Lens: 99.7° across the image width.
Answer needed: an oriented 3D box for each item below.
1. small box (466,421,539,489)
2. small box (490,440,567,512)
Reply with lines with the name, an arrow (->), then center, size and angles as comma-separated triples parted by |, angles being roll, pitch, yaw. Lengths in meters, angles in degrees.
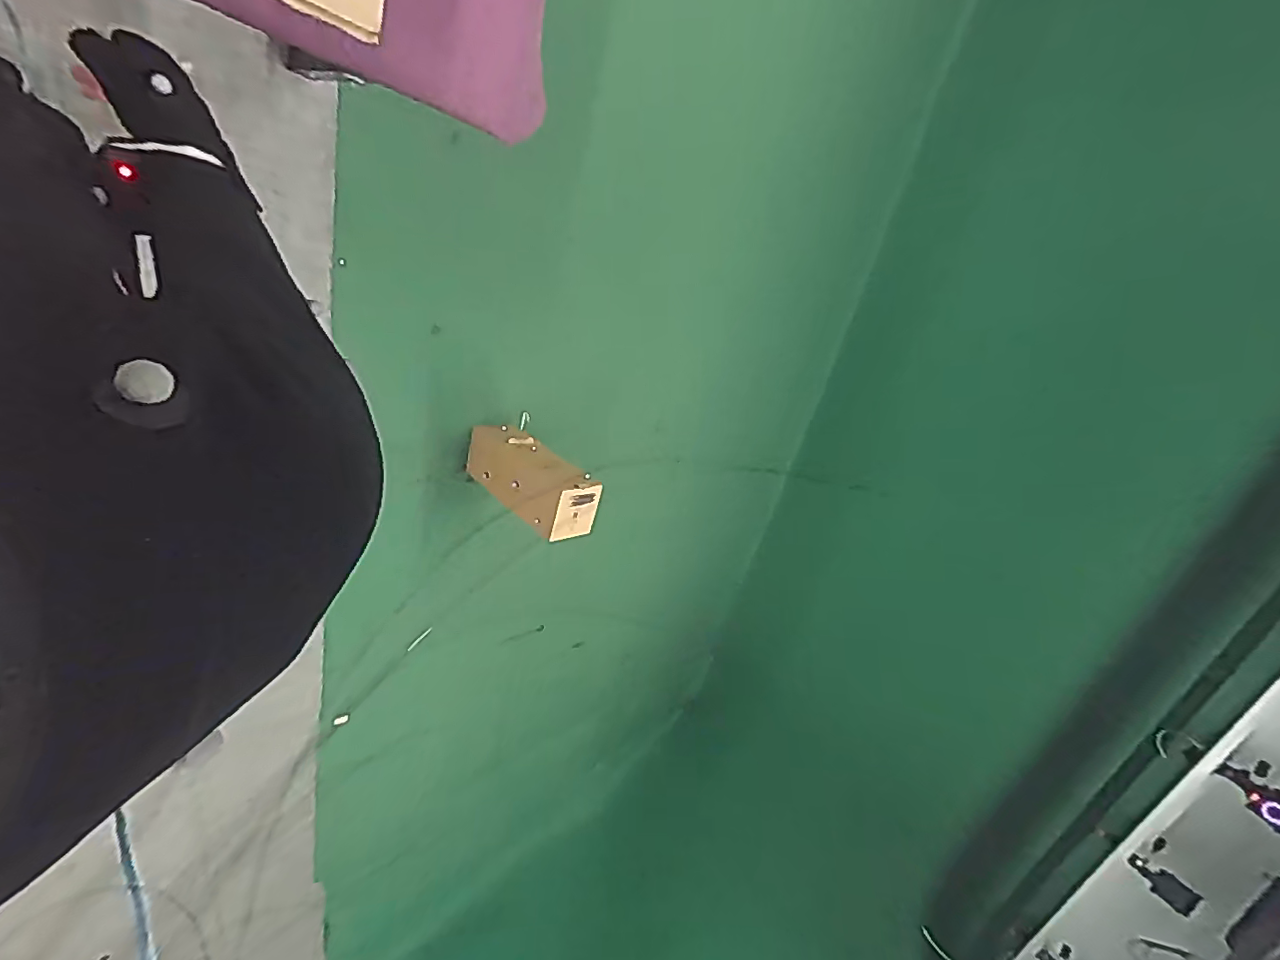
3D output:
small box -> -0.479, -0.090, 1.859 | 0.168, 0.176, 0.179 | -10, 124, -49
small box -> -0.369, -0.017, 1.764 | 0.168, 0.176, 0.179 | -8, 122, -49
